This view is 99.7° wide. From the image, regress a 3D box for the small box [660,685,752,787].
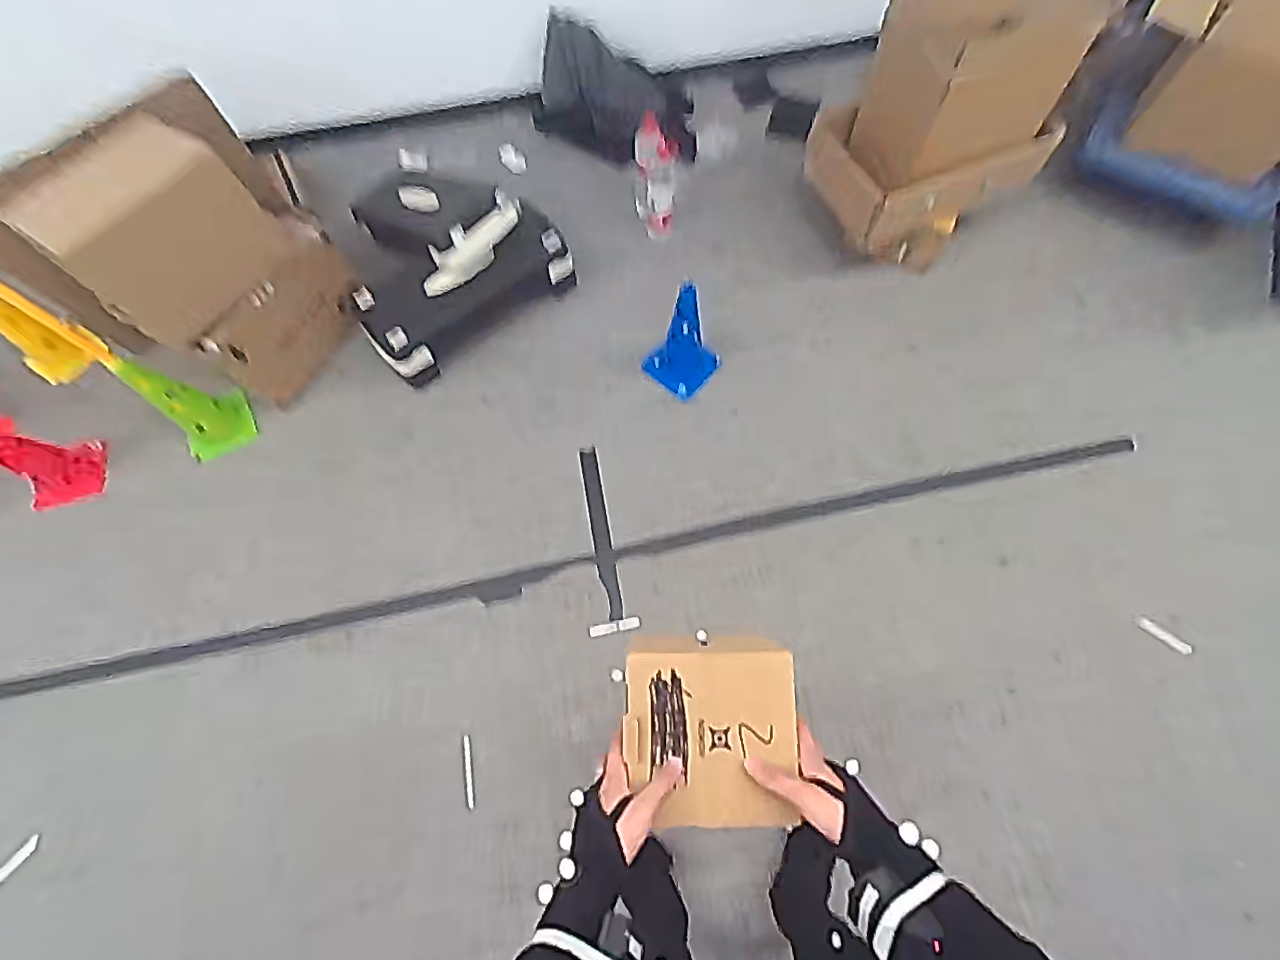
[{"bbox_3d":[0.149,0.593,1.270,0.168,0.176,0.179,-15,68,-4],"label":"small box"}]
